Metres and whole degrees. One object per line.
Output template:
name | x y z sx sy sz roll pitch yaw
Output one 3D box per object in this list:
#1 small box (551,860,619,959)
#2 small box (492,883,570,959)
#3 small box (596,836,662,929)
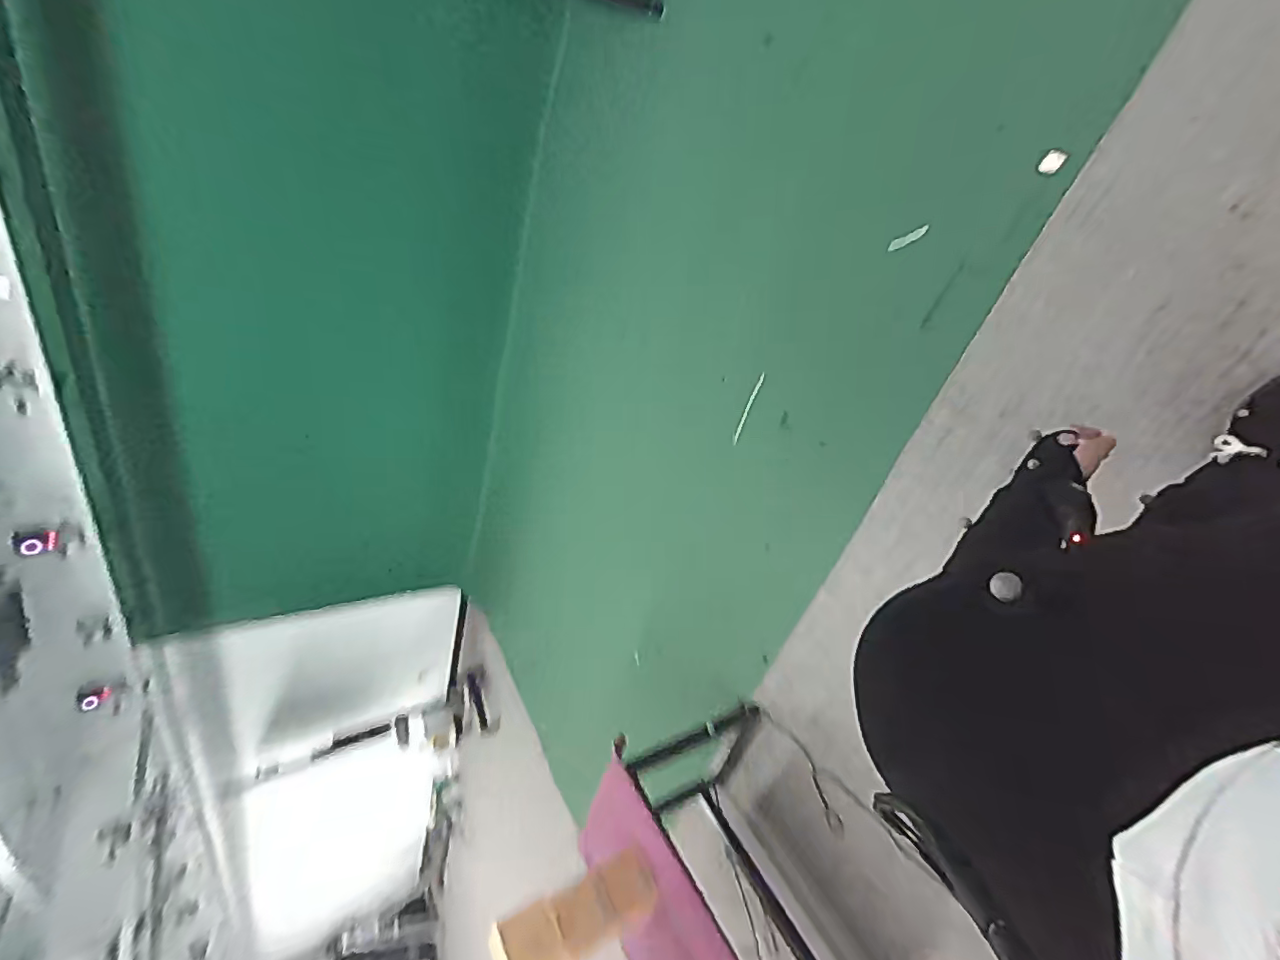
small box | -0.184 1.341 1.691 0.168 0.176 0.179 48 133 39
small box | -0.322 1.351 1.606 0.168 0.176 0.179 46 132 40
small box | -0.052 1.327 1.787 0.168 0.176 0.179 49 132 38
